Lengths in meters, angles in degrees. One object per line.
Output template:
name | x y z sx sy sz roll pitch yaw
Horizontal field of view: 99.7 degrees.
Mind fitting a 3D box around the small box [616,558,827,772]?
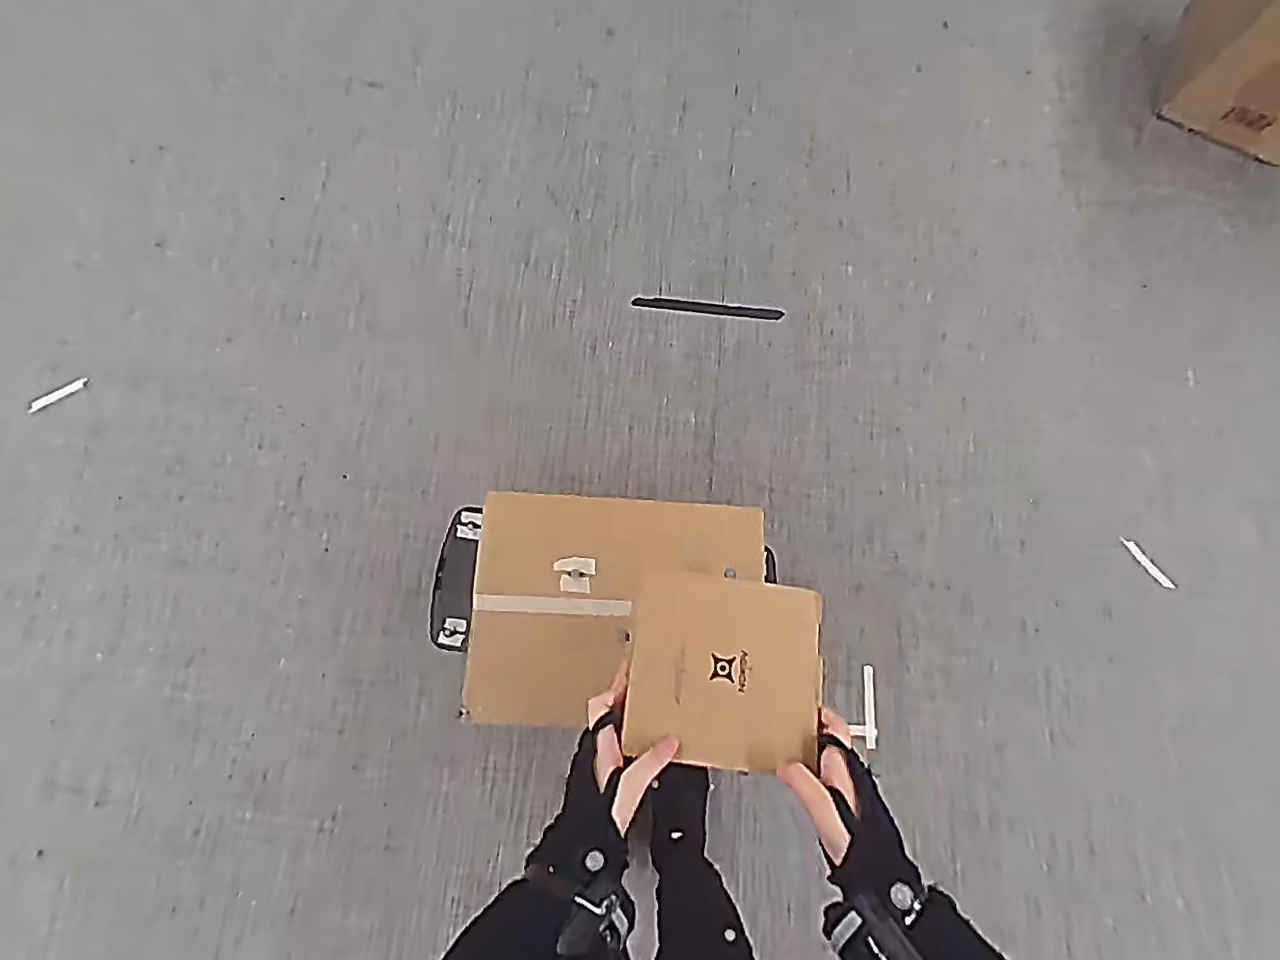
small box | 0.075 0.185 0.565 0.179 0.176 0.168 9 73 -1

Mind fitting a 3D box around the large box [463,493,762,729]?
large box | -0.031 0.207 0.886 0.408 0.320 0.320 3 77 -1
